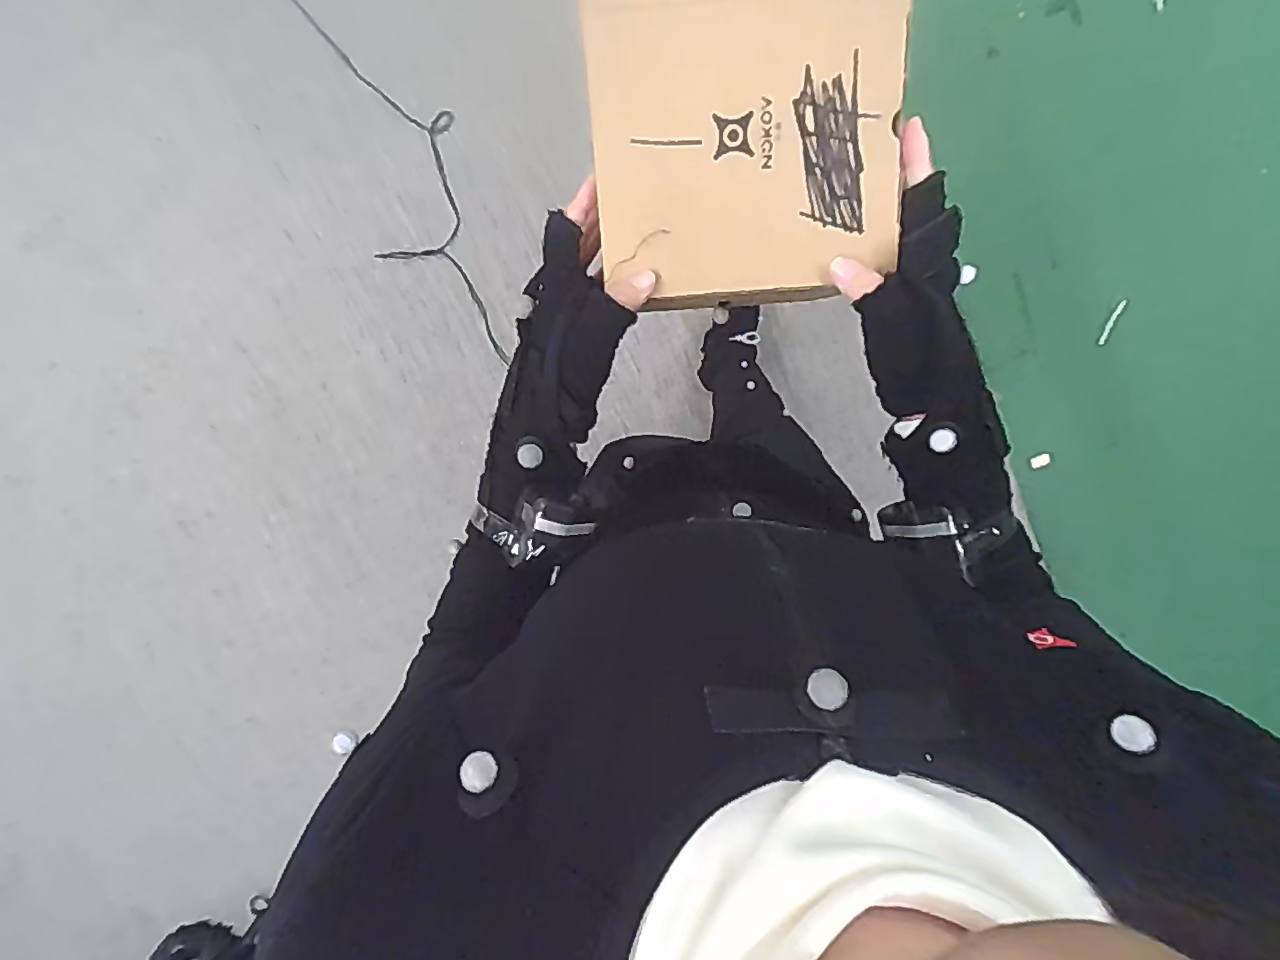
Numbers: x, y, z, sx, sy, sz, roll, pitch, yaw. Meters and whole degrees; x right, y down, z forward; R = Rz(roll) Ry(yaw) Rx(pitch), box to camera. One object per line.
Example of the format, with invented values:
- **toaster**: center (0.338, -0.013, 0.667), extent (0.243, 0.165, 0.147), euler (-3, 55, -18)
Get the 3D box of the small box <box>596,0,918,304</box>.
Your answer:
- **small box**: center (0.068, -0.223, 0.382), extent (0.179, 0.176, 0.168), euler (-8, 105, 1)
